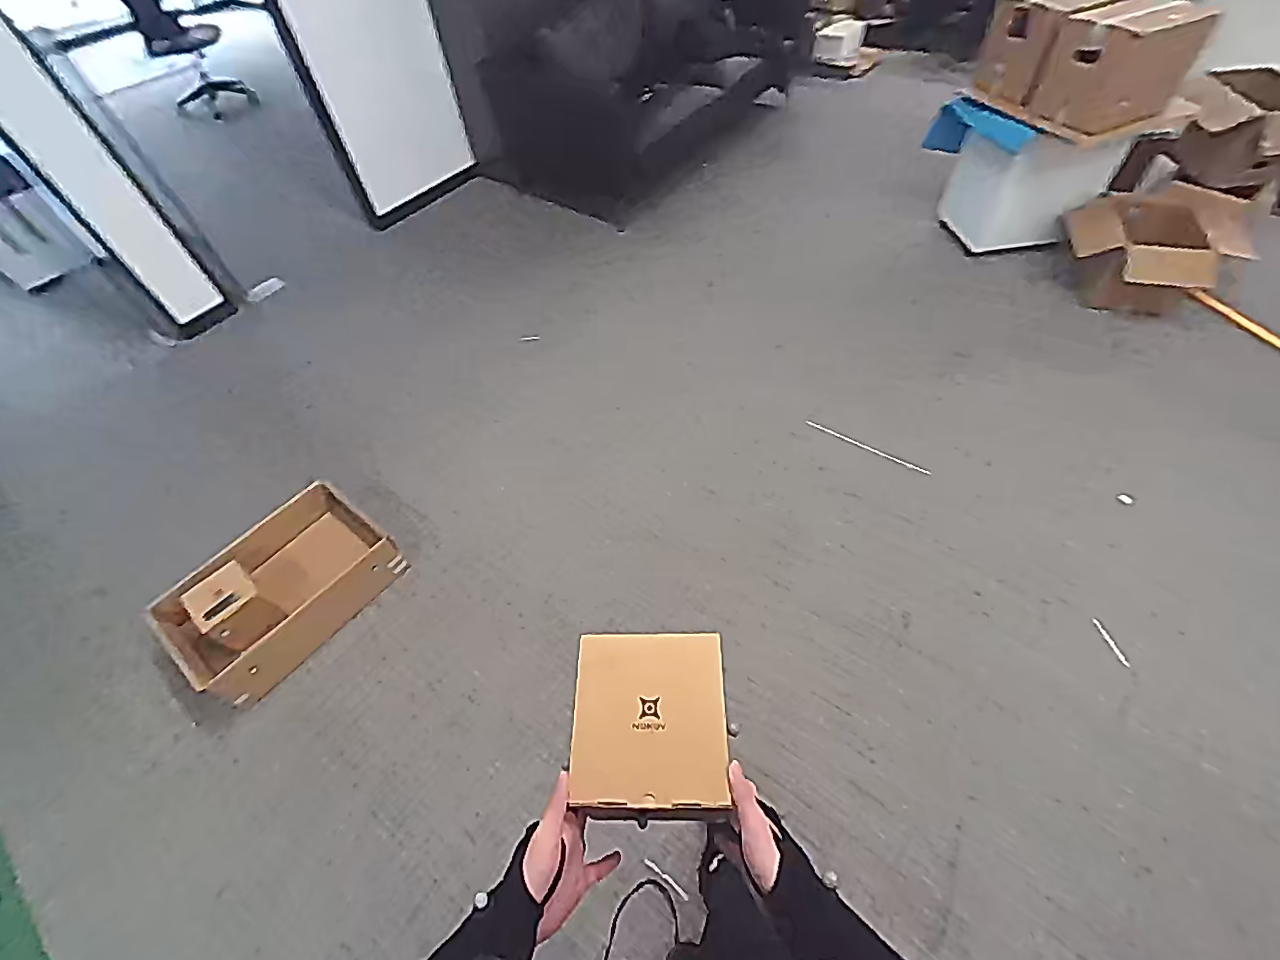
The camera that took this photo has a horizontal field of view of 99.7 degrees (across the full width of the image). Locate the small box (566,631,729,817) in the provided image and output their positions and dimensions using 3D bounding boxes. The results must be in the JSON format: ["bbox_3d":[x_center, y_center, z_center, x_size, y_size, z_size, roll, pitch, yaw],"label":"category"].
[{"bbox_3d":[0.012,0.296,0.650,0.168,0.176,0.179,-2,55,3],"label":"small box"}]
